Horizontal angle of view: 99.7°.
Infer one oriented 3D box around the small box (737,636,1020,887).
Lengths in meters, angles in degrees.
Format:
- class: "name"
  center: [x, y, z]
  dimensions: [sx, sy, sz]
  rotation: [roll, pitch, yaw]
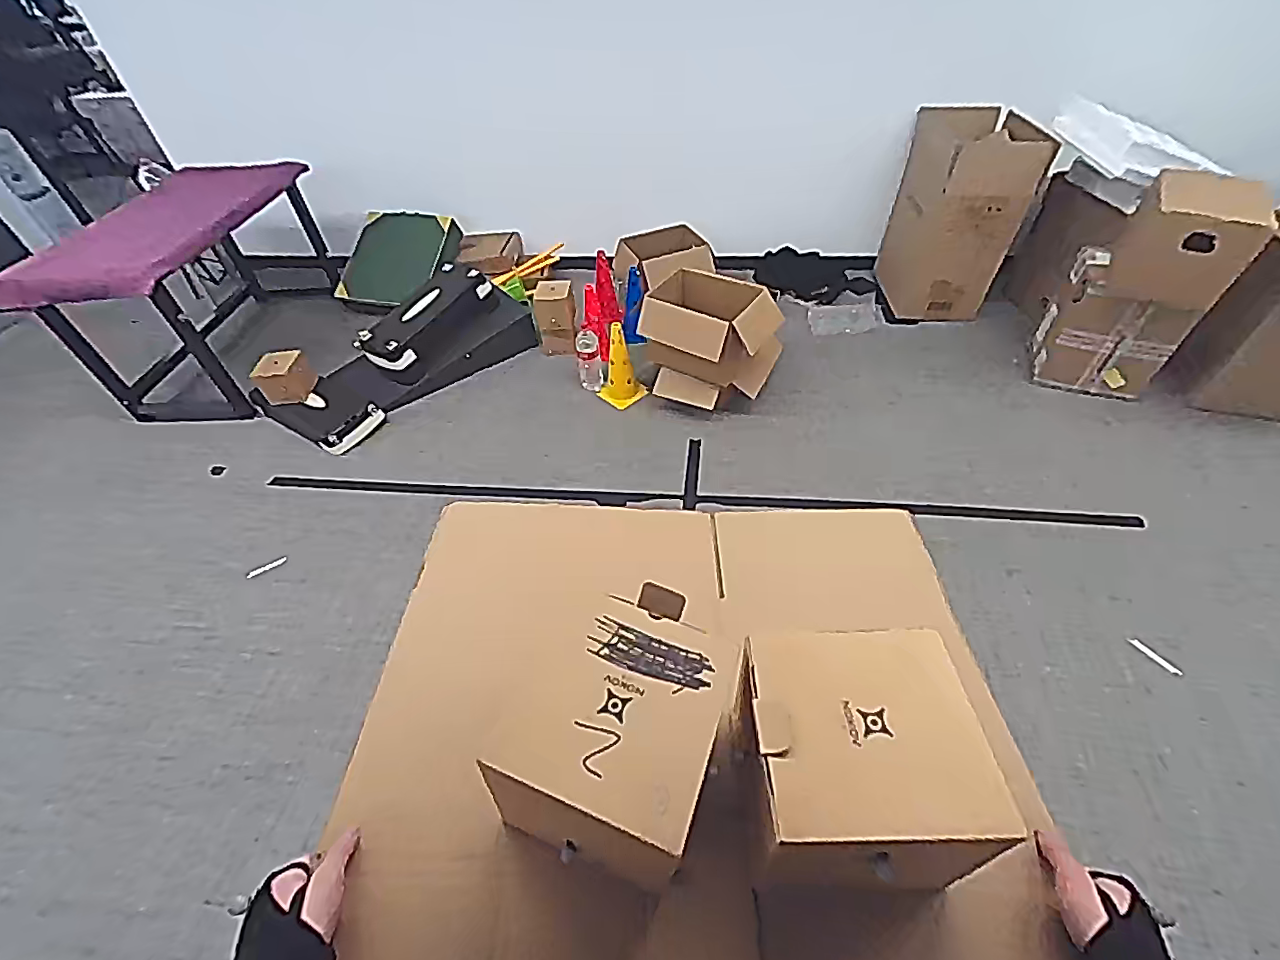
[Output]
- class: "small box"
  center: [0.193, 0.261, 0.503]
  dimensions: [0.179, 0.176, 0.168]
  rotation: [-3, 44, 2]
